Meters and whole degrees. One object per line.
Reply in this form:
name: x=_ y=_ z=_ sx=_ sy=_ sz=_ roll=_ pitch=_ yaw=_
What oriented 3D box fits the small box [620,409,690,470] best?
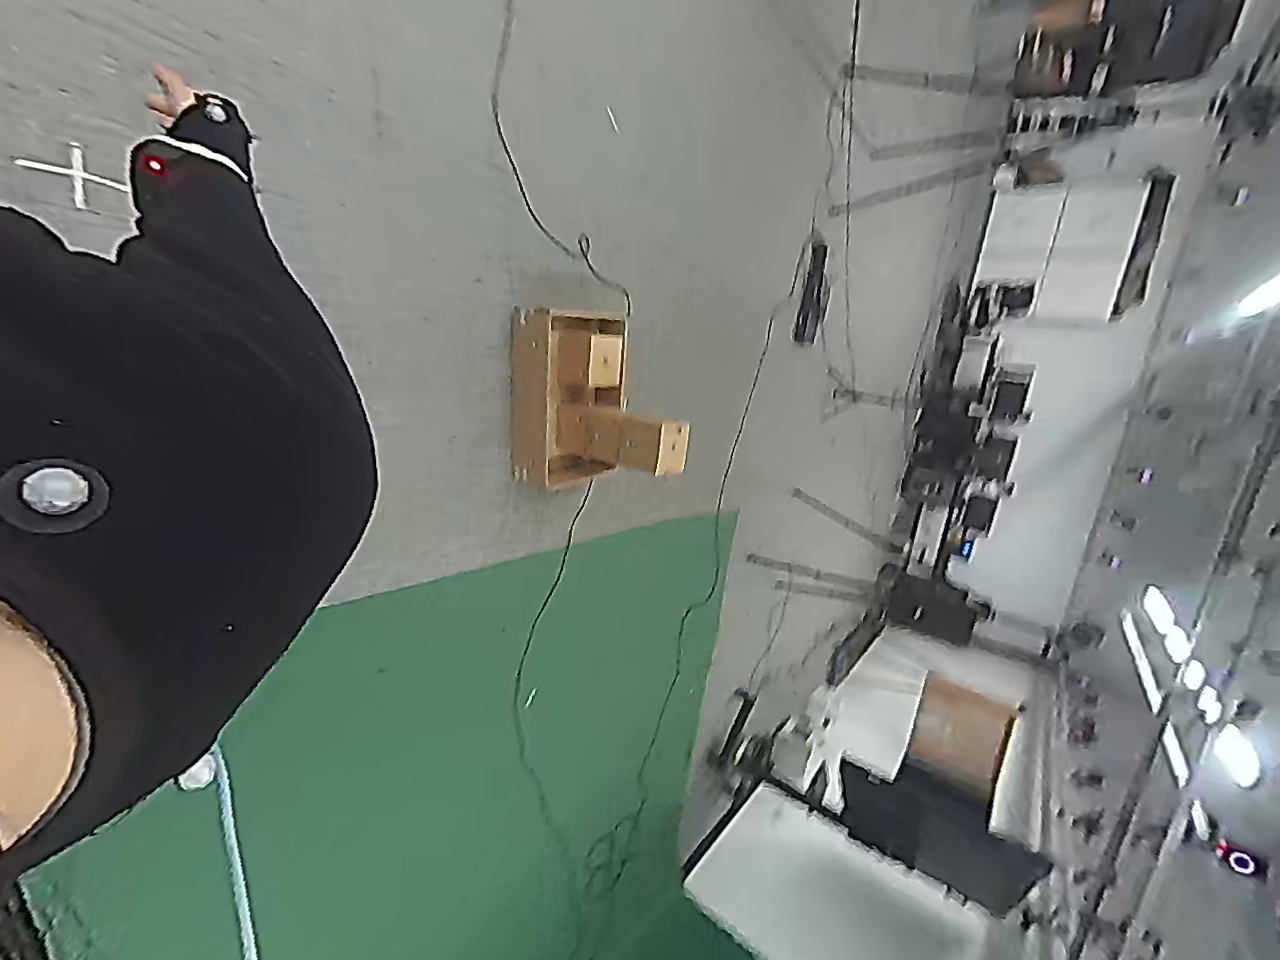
small box: x=0.047 y=-0.142 z=1.868 sx=0.168 sy=0.176 sz=0.179 roll=-9 pitch=111 yaw=-52

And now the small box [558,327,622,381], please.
small box: x=-0.186 y=-0.467 z=1.989 sx=0.168 sy=0.176 sz=0.179 roll=-16 pitch=119 yaw=-49

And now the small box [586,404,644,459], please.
small box: x=-0.073 y=-0.182 z=1.975 sx=0.179 sy=0.176 sz=0.168 roll=-14 pitch=115 yaw=-50
